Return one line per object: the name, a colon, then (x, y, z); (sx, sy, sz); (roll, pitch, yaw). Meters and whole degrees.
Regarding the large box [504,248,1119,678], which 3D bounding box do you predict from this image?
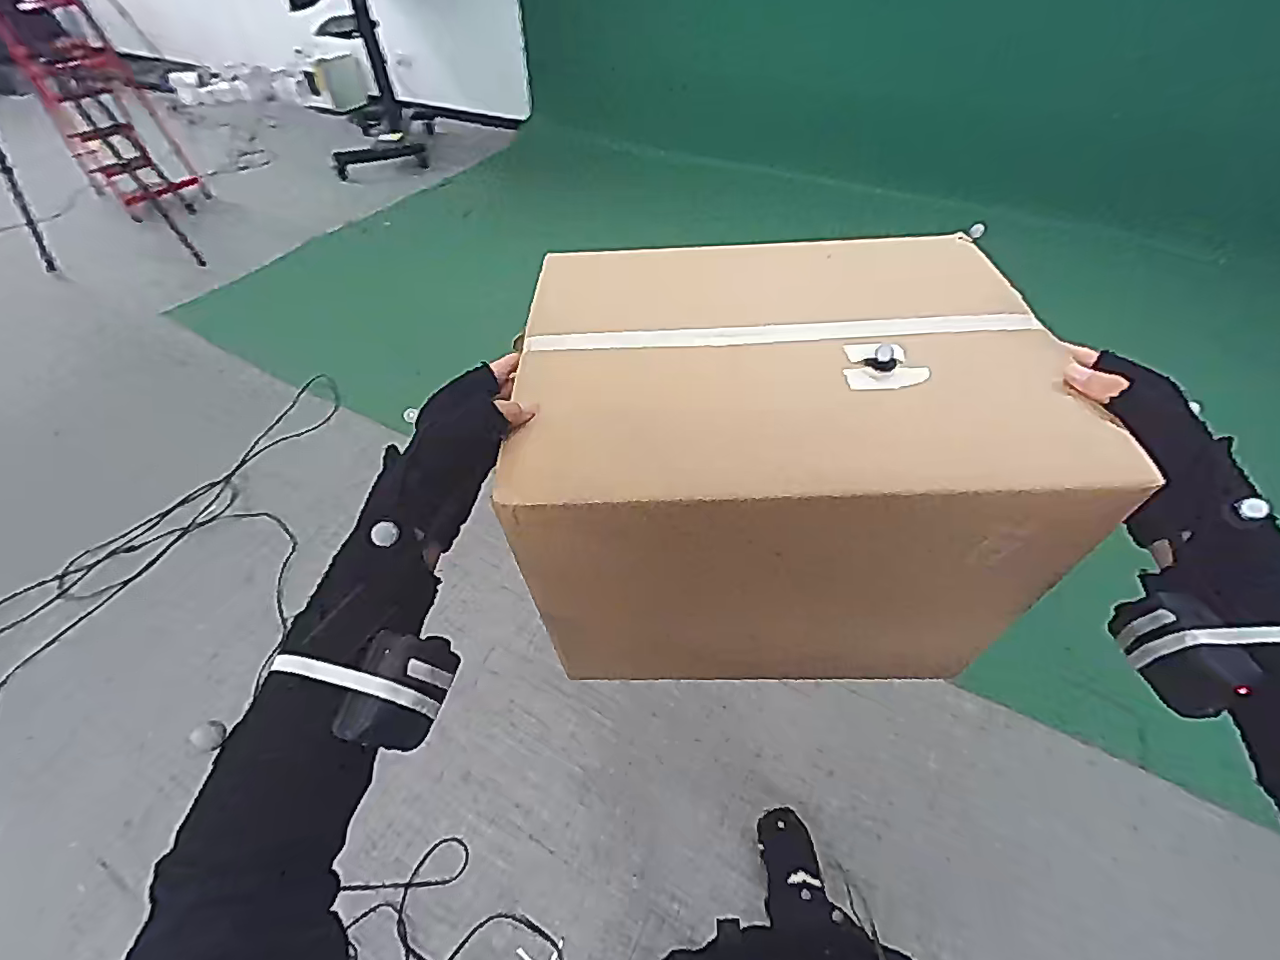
large box: (0.110, -0.009, 0.553); (0.408, 0.320, 0.320); (-2, 50, 2)
